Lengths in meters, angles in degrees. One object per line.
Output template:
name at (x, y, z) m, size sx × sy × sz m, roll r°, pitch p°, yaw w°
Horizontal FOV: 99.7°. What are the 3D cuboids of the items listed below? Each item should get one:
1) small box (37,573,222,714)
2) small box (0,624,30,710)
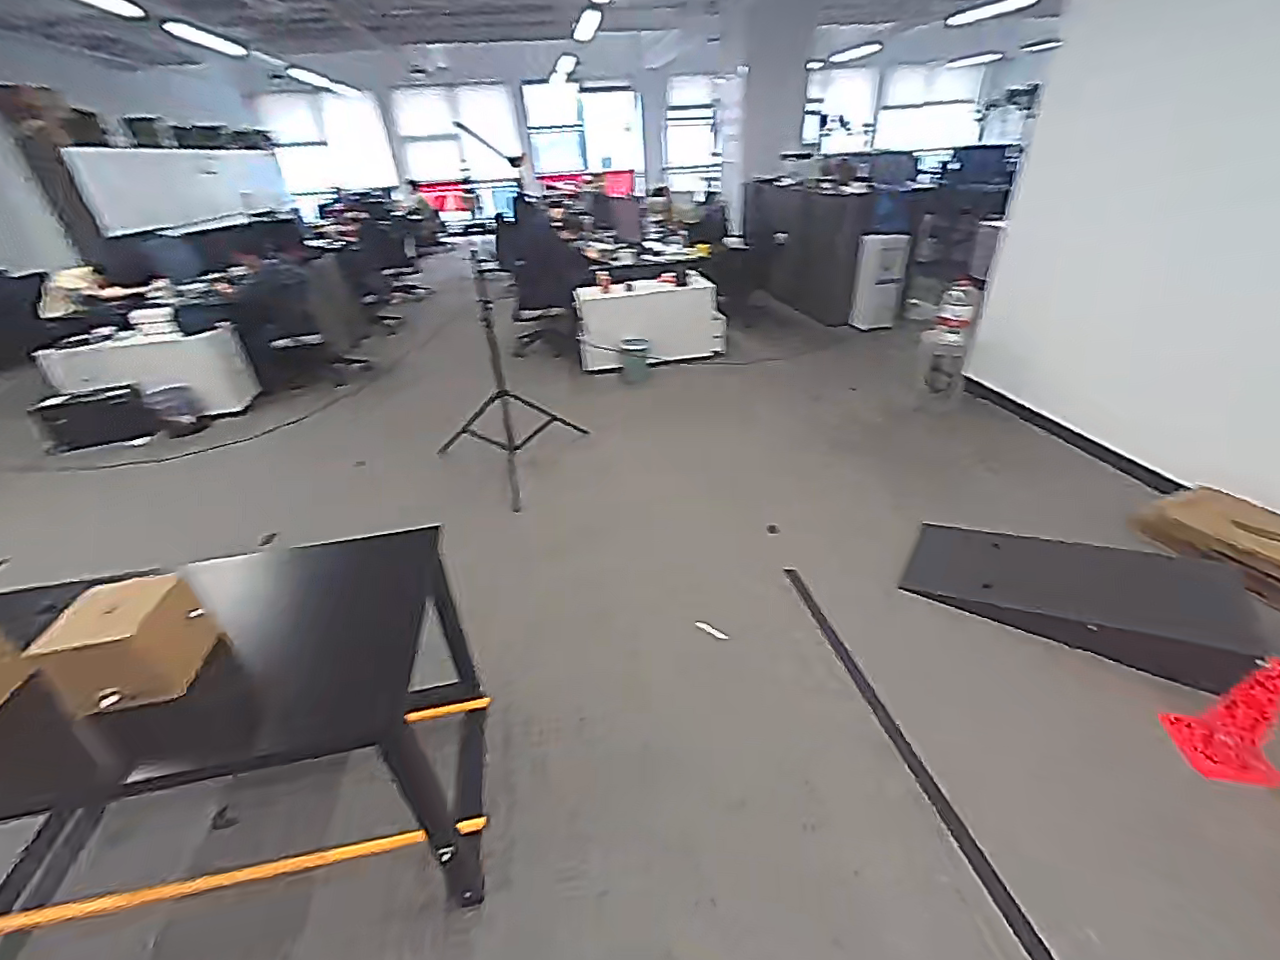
small box at (-0.943, 0.307, 1.026) m, size 0.168 × 0.176 × 0.179 m, roll -10°, pitch 33°, yaw -8°
small box at (-1.269, 0.365, 0.961) m, size 0.168 × 0.176 × 0.179 m, roll -8°, pitch 32°, yaw -6°
